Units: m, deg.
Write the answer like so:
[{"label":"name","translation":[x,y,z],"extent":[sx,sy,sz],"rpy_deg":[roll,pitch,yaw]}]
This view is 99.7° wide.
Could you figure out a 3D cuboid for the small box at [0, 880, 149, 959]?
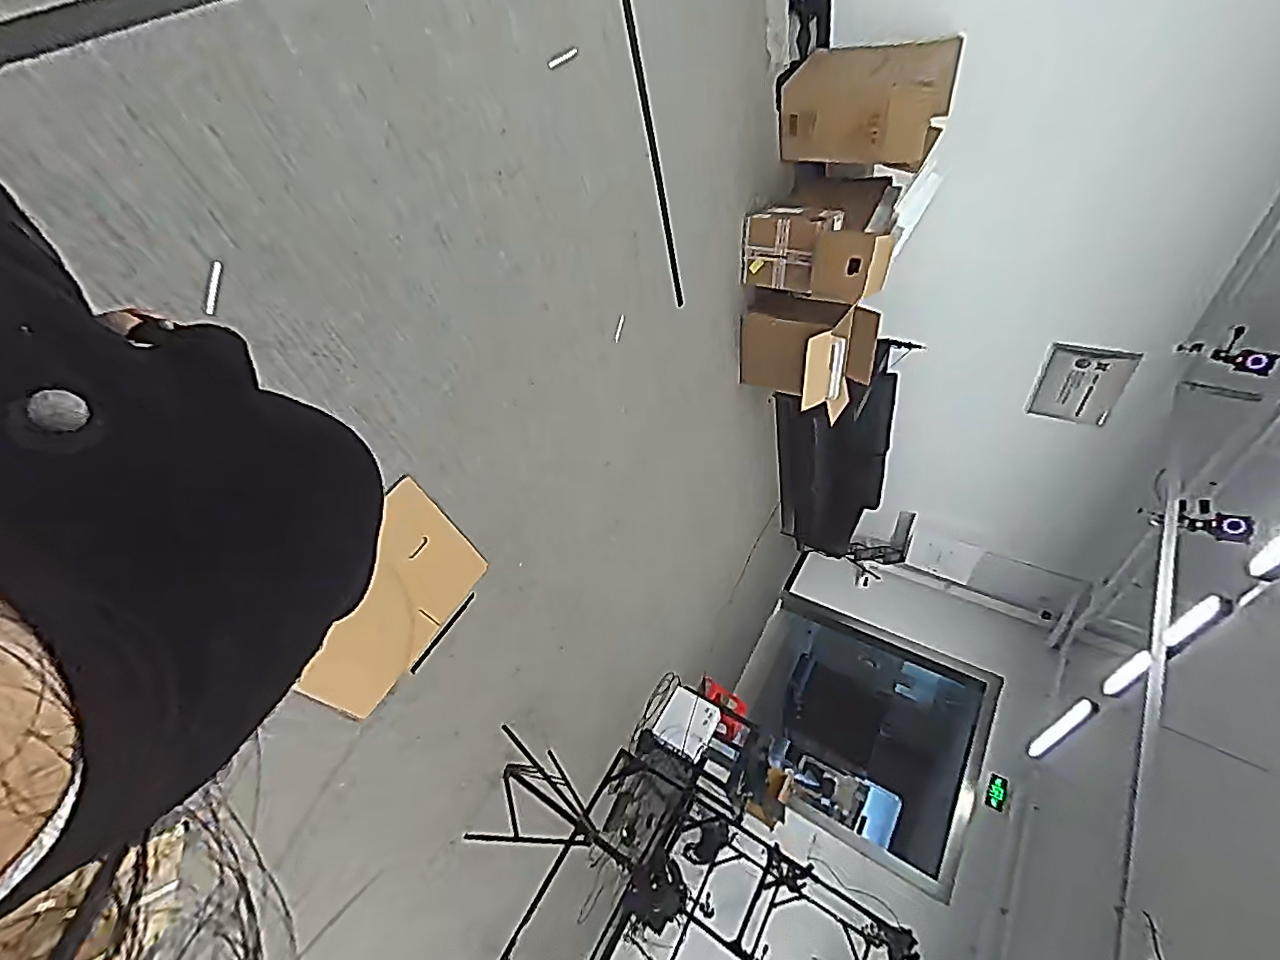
[{"label":"small box","translation":[-1.075,0.924,1.025],"extent":[0.168,0.176,0.179],"rpy_deg":[0,106,-59]}]
